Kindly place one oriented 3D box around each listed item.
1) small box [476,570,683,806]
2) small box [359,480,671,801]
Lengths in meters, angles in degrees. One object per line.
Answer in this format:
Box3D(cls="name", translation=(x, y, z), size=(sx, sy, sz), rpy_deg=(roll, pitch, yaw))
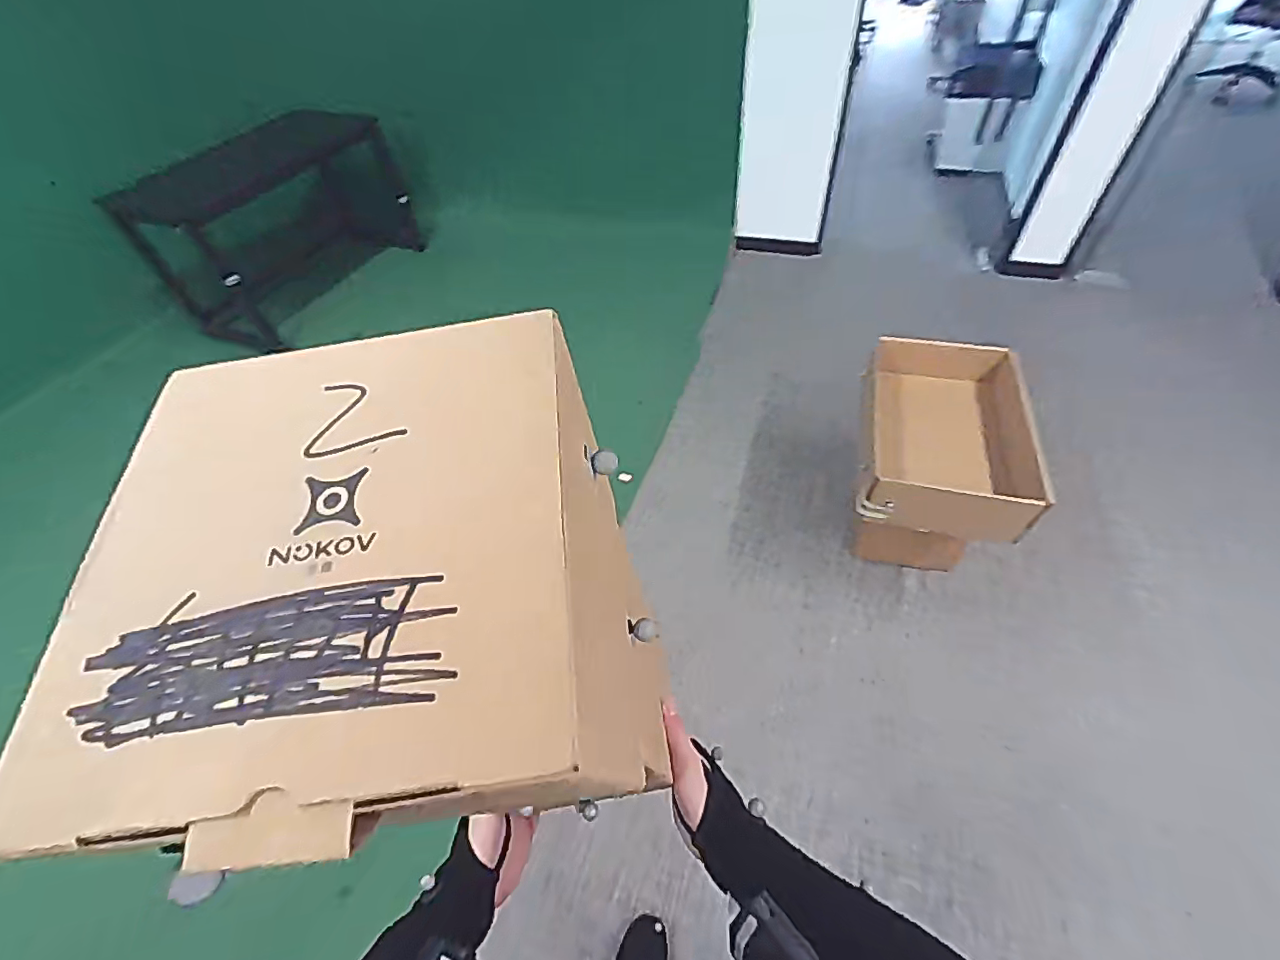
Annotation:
Box3D(cls="small box", translation=(-0.054, 0.210, 0.533), size=(0.168, 0.176, 0.179), rpy_deg=(-10, 58, 2))
Box3D(cls="small box", translation=(-0.073, 0.125, 0.397), size=(0.168, 0.176, 0.179), rpy_deg=(-10, 59, 1))
